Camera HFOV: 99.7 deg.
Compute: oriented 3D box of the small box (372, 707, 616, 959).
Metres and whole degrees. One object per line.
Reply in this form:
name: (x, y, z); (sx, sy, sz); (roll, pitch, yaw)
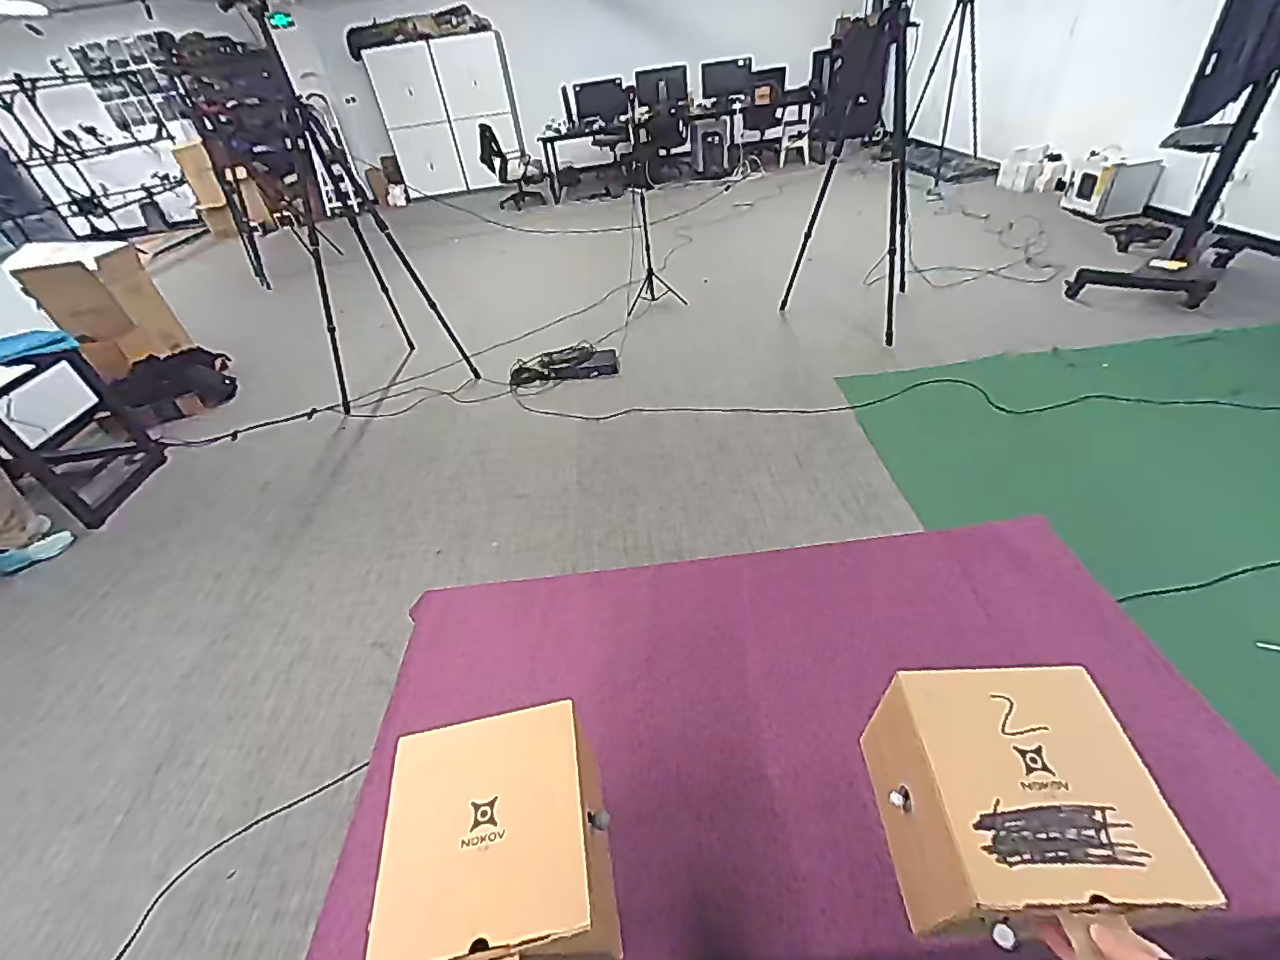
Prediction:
small box: (-0.123, 0.351, 0.512); (0.168, 0.176, 0.179); (-12, 43, -4)
